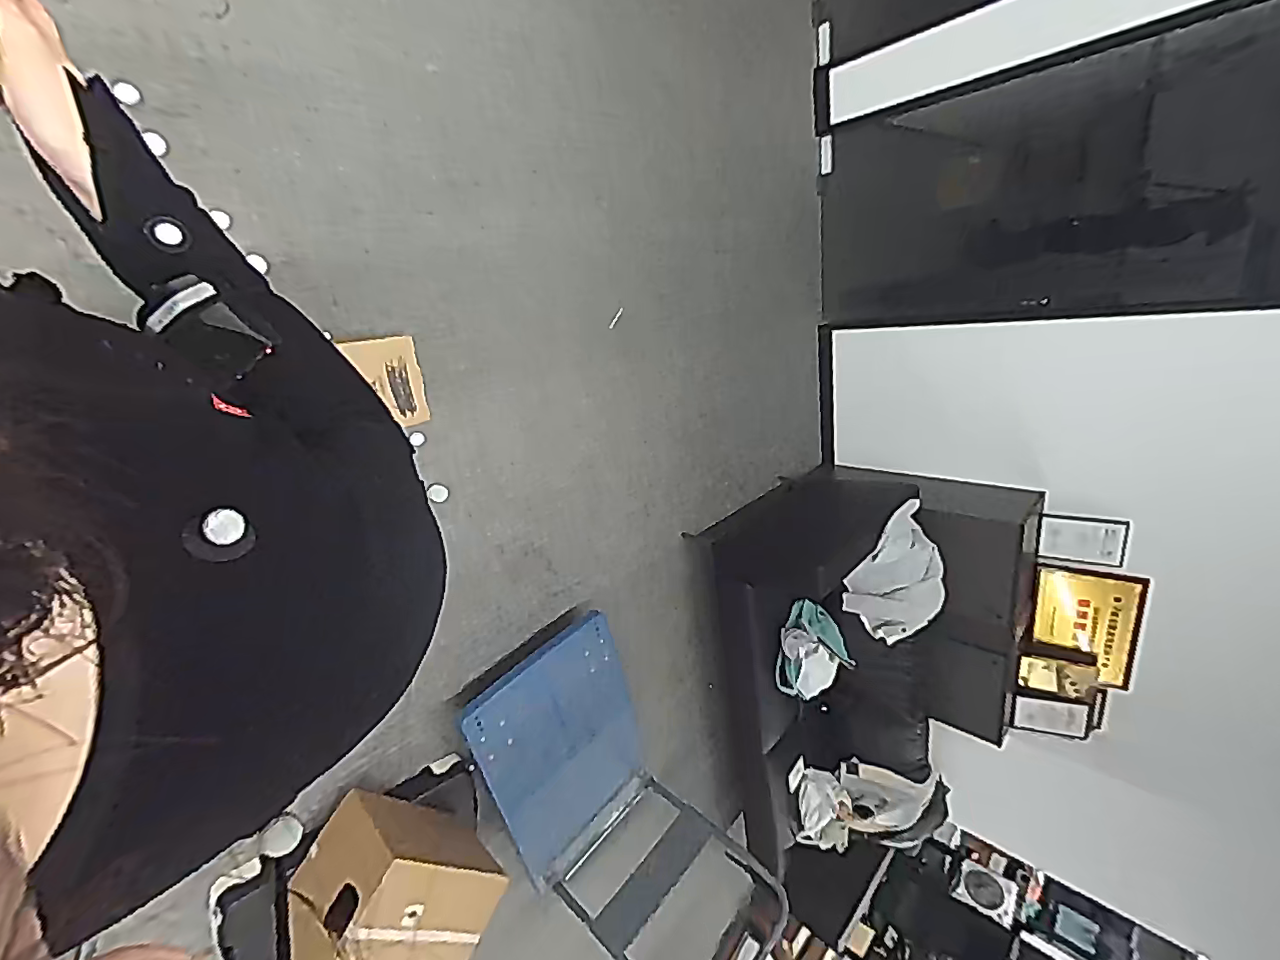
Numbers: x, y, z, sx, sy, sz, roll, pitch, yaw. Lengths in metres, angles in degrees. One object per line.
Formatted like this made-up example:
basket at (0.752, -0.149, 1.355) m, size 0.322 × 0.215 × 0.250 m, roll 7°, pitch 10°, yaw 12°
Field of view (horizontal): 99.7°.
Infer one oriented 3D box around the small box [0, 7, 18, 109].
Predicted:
small box at (-0.458, -0.310, 0.270) m, size 0.168 × 0.176 × 0.179 m, roll -12°, pitch 120°, yaw -42°

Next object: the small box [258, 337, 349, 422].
small box at (-0.766, -0.238, 1.266) m, size 0.179 × 0.176 × 0.168 m, roll -24°, pitch 116°, yaw -41°

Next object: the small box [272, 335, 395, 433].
small box at (-0.654, -0.207, 1.150) m, size 0.168 × 0.176 × 0.179 m, roll -23°, pitch 115°, yaw -40°
